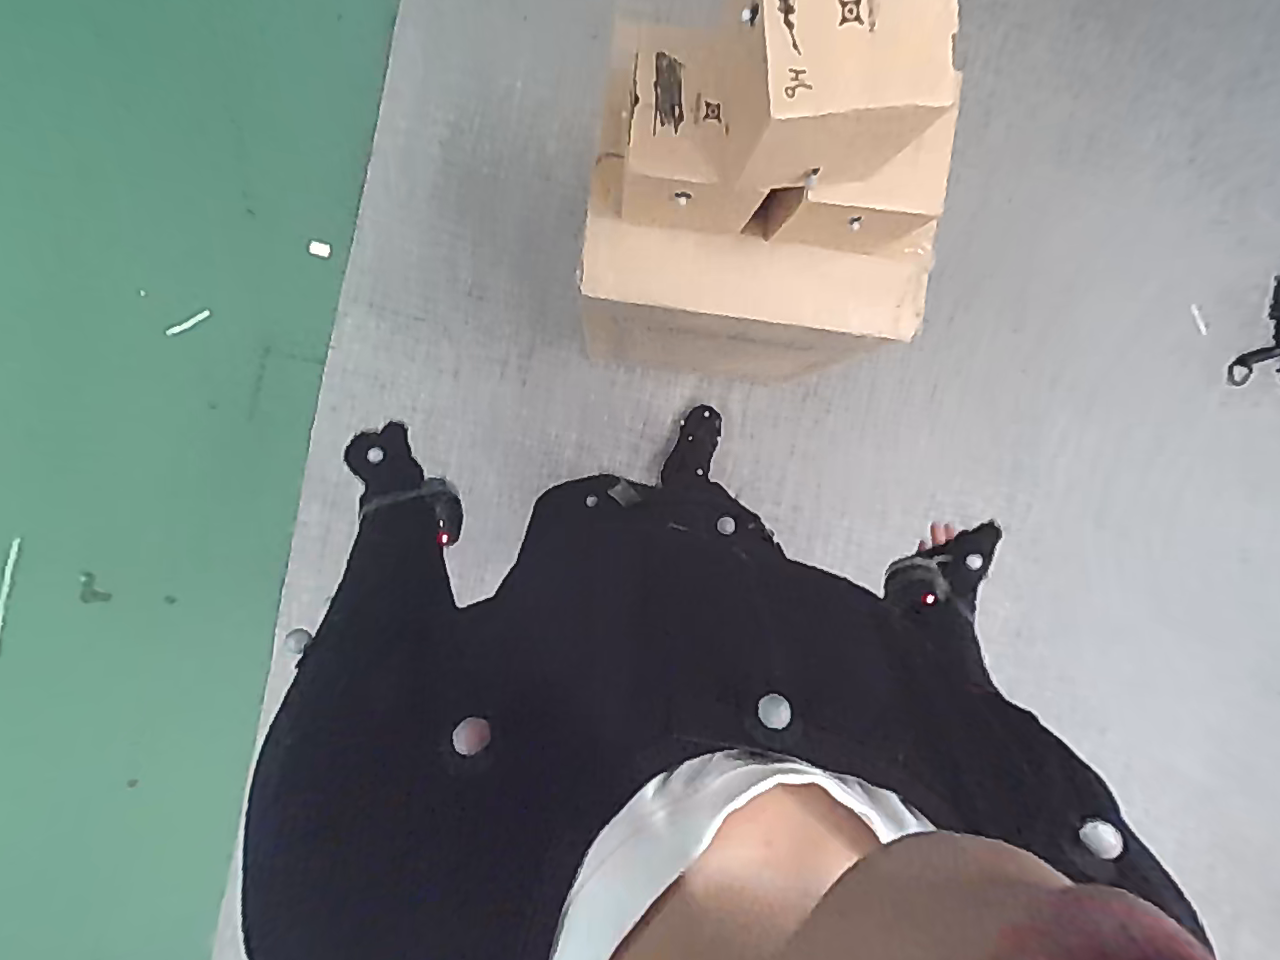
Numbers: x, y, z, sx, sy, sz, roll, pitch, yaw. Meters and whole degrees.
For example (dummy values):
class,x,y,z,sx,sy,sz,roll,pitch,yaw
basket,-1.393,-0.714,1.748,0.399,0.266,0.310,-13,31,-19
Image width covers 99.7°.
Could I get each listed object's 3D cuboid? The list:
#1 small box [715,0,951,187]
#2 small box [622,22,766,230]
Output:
class,x,y,z,sx,sy,sz,roll,pitch,yaw
small box,0.186,-0.425,0.559,0.179,0.176,0.168,-6,98,-4
small box,0.071,-0.447,0.713,0.179,0.176,0.168,5,97,-5
